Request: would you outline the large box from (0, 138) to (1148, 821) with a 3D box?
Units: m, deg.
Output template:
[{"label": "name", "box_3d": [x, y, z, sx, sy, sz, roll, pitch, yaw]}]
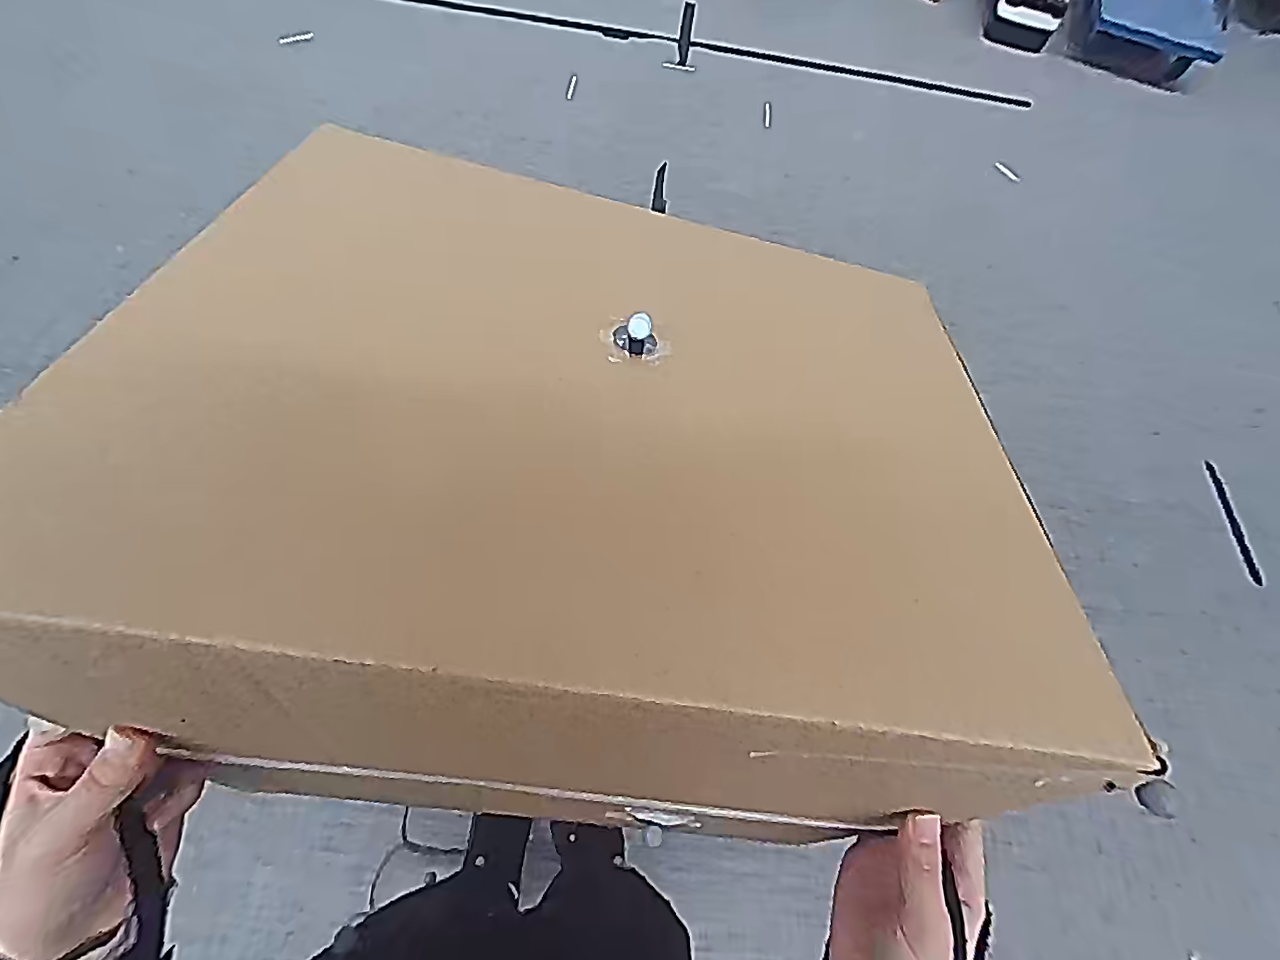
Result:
[{"label": "large box", "box_3d": [-0.037, 0.025, 0.374, 0.408, 0.320, 0.320, 9, 53, -8]}]
